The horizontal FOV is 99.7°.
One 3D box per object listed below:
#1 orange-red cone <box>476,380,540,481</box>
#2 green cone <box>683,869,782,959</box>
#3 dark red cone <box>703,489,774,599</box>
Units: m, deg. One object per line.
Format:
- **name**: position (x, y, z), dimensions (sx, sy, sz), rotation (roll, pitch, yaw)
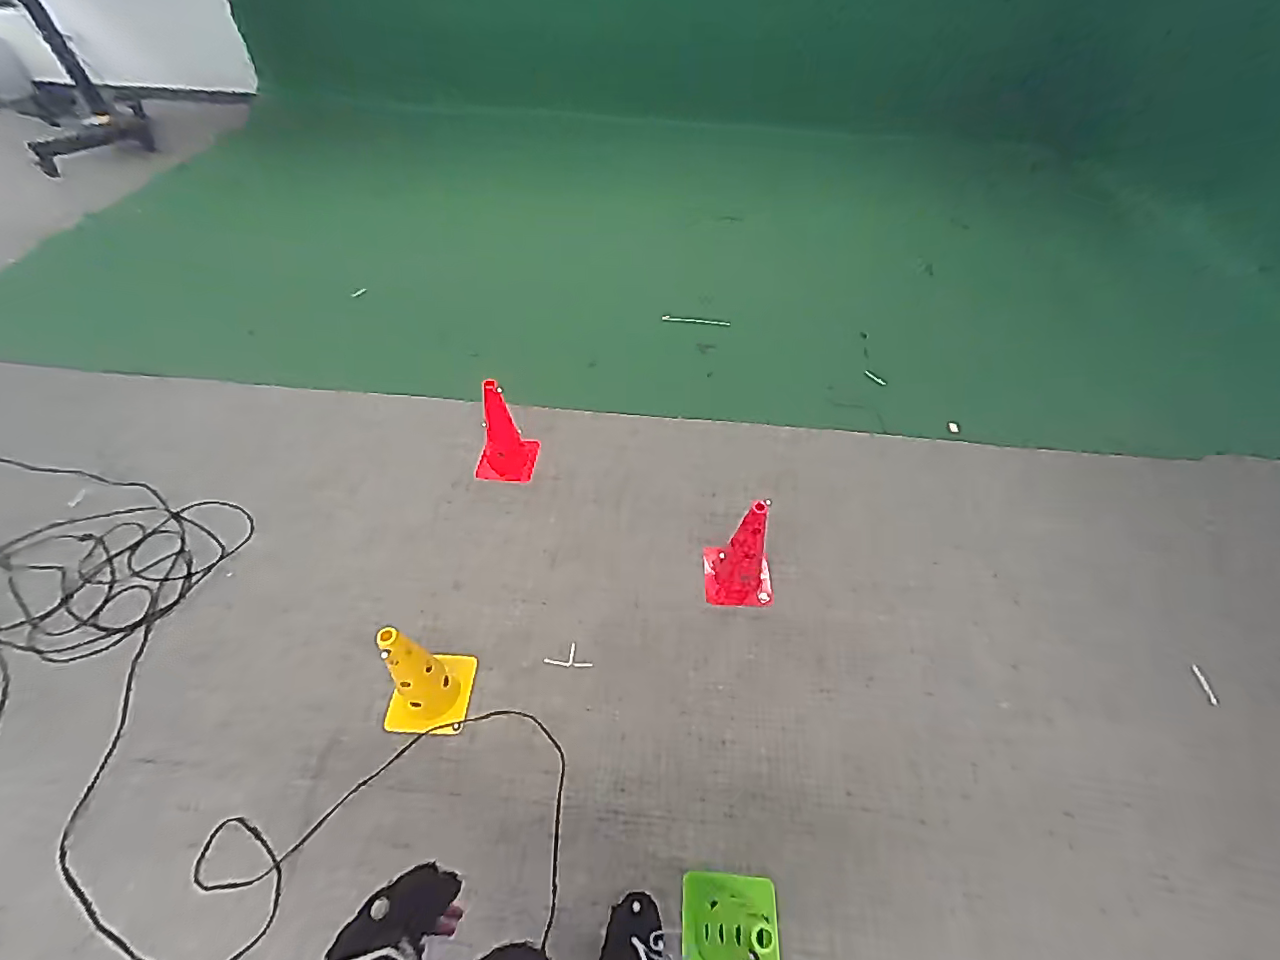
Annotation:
- **orange-red cone**: position (-0.469, -0.184, 1.802), dimensions (0.198, 0.360, 0.199), rotation (5, 51, 3)
- **green cone**: position (0.190, 0.826, 0.990), dimensions (0.202, 0.368, 0.200), rotation (3, 50, 2)
- **dark red cone**: position (0.299, 0.163, 1.507), dimensions (0.202, 0.394, 0.201), rotation (1, 49, -1)
